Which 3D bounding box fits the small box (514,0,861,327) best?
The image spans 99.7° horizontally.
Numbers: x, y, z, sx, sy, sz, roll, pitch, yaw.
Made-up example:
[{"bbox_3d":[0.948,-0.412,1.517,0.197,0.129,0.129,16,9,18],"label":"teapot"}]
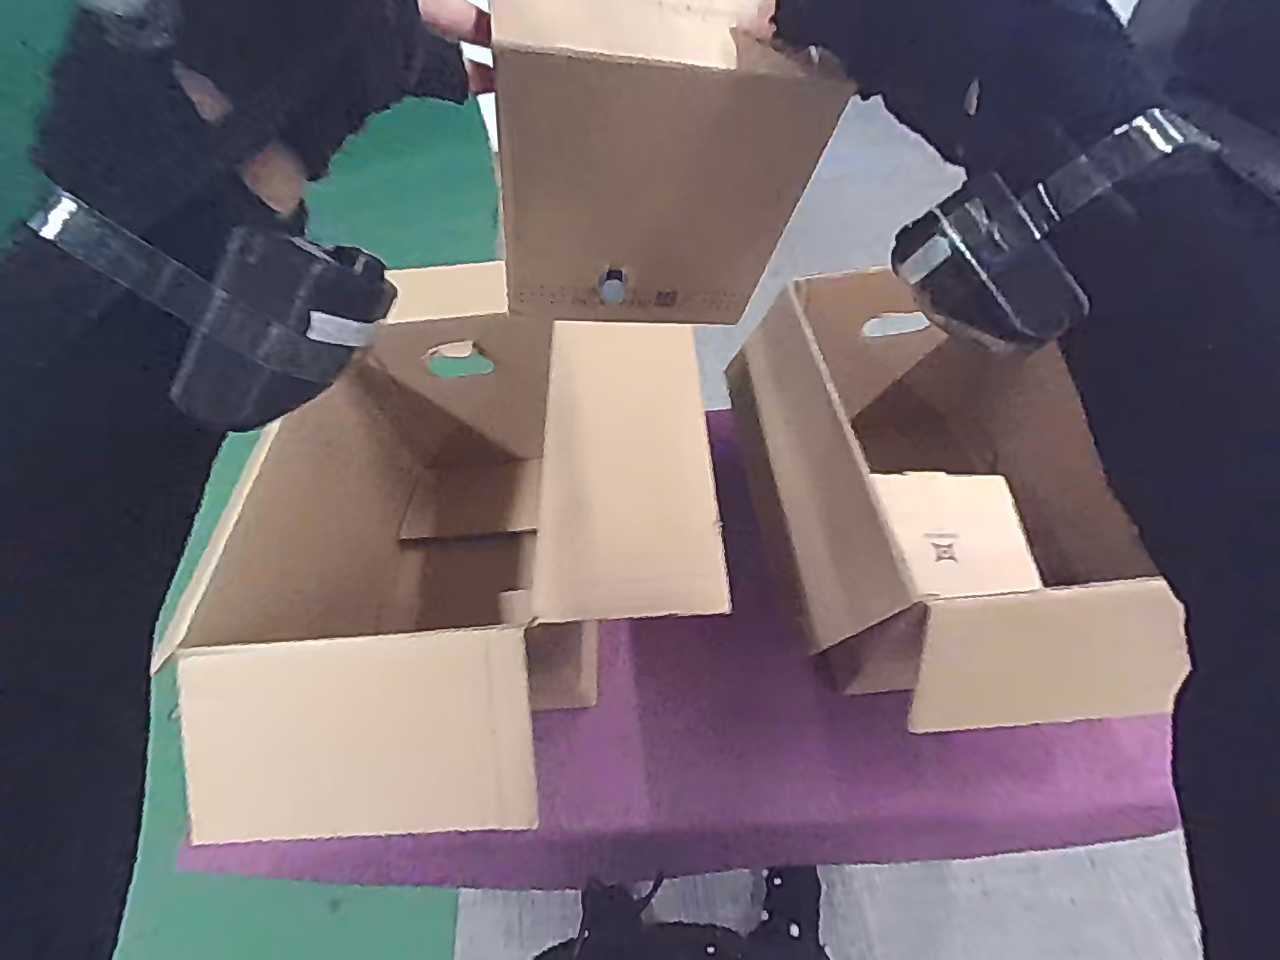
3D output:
[{"bbox_3d":[0.005,-0.225,0.349,0.168,0.176,0.179,-1,65,-11],"label":"small box"}]
